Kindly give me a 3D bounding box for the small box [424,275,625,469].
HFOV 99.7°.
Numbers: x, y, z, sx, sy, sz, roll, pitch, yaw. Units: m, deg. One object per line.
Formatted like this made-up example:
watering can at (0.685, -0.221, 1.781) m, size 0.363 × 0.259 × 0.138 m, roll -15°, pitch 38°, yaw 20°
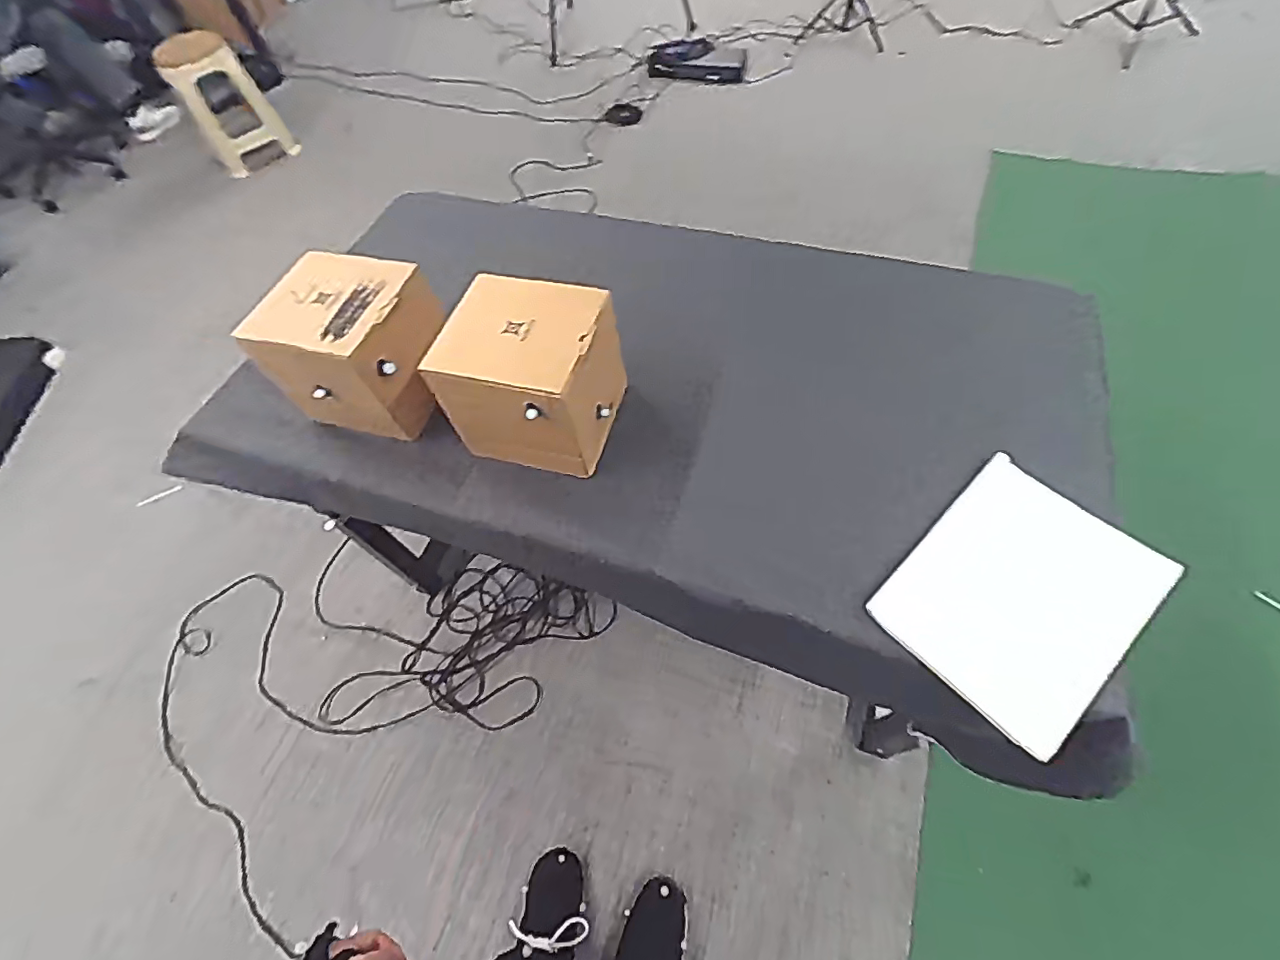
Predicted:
small box at (-0.130, -0.132, 0.686) m, size 0.179 × 0.176 × 0.168 m, roll 11°, pitch 60°, yaw 12°
